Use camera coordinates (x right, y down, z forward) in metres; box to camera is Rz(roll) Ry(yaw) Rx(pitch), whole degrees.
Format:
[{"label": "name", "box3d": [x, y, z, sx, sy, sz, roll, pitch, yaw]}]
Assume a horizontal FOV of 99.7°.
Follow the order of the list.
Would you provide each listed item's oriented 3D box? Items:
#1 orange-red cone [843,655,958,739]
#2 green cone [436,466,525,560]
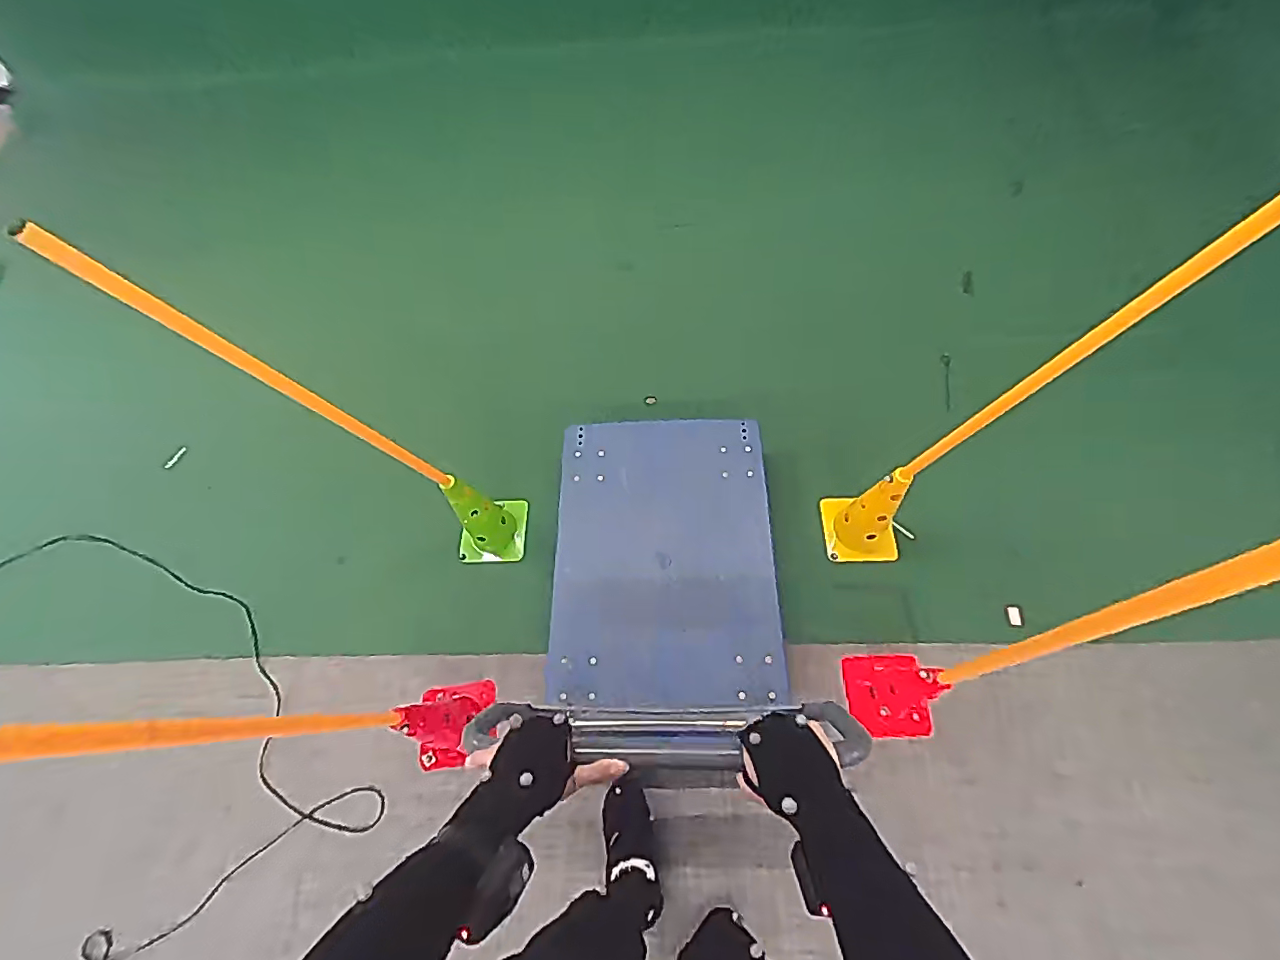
[{"label": "orange-red cone", "box3d": [0.617, 0.467, 1.222, 0.198, 0.360, 0.199, -1, 62, 3]}, {"label": "green cone", "box3d": [-0.469, 0.068, 1.499, 0.200, 0.368, 0.202, -2, 62, 4]}]
